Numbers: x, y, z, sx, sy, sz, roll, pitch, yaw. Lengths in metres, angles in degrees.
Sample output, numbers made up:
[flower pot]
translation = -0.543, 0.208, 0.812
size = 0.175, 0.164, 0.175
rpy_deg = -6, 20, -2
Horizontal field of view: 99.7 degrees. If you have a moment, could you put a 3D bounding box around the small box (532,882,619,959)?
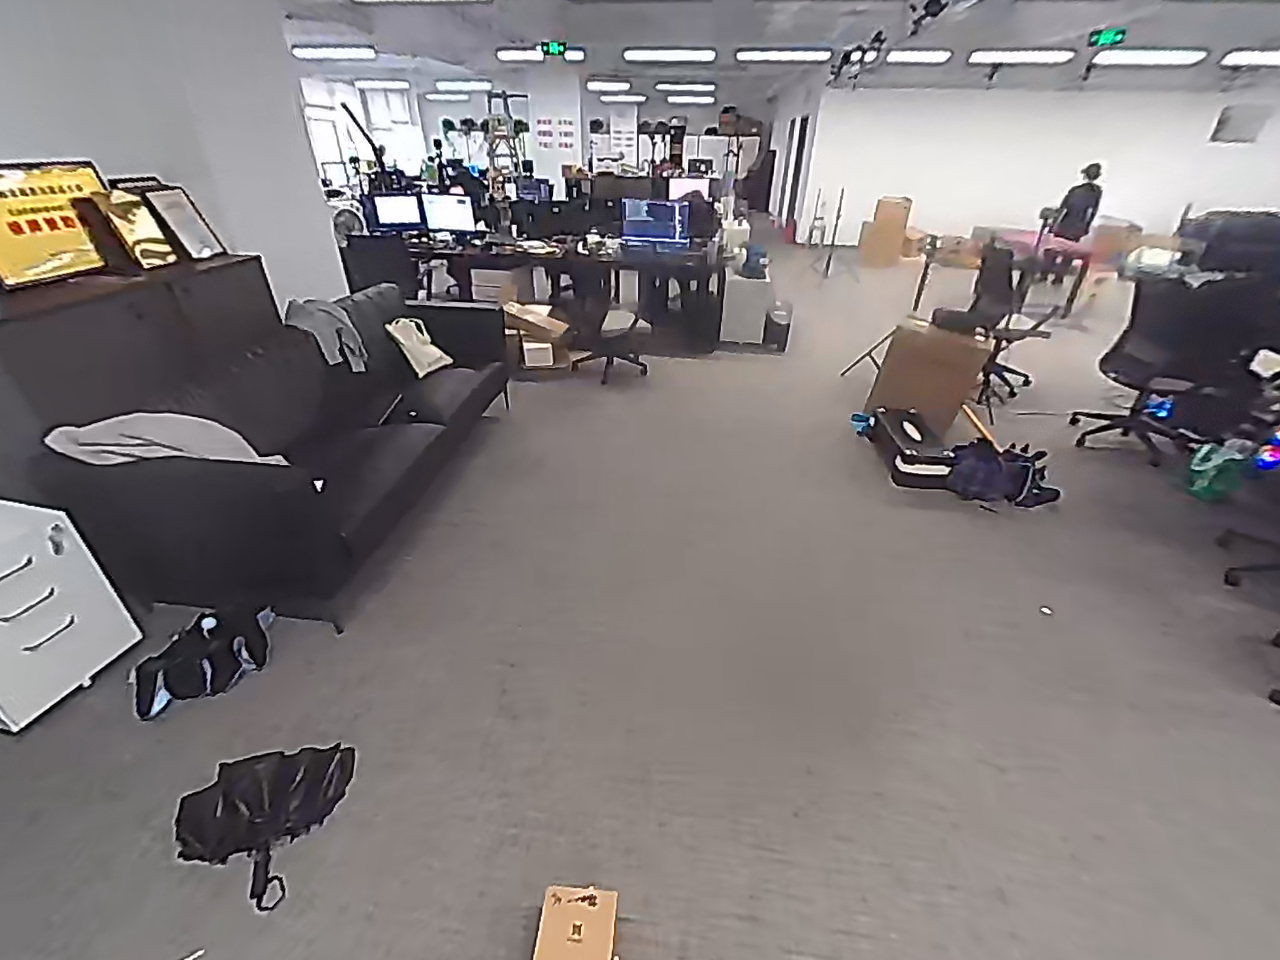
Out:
[small box]
translation = -0.138, 1.039, 1.207
size = 0.168, 0.176, 0.179
rpy_deg = 3, 34, 3
